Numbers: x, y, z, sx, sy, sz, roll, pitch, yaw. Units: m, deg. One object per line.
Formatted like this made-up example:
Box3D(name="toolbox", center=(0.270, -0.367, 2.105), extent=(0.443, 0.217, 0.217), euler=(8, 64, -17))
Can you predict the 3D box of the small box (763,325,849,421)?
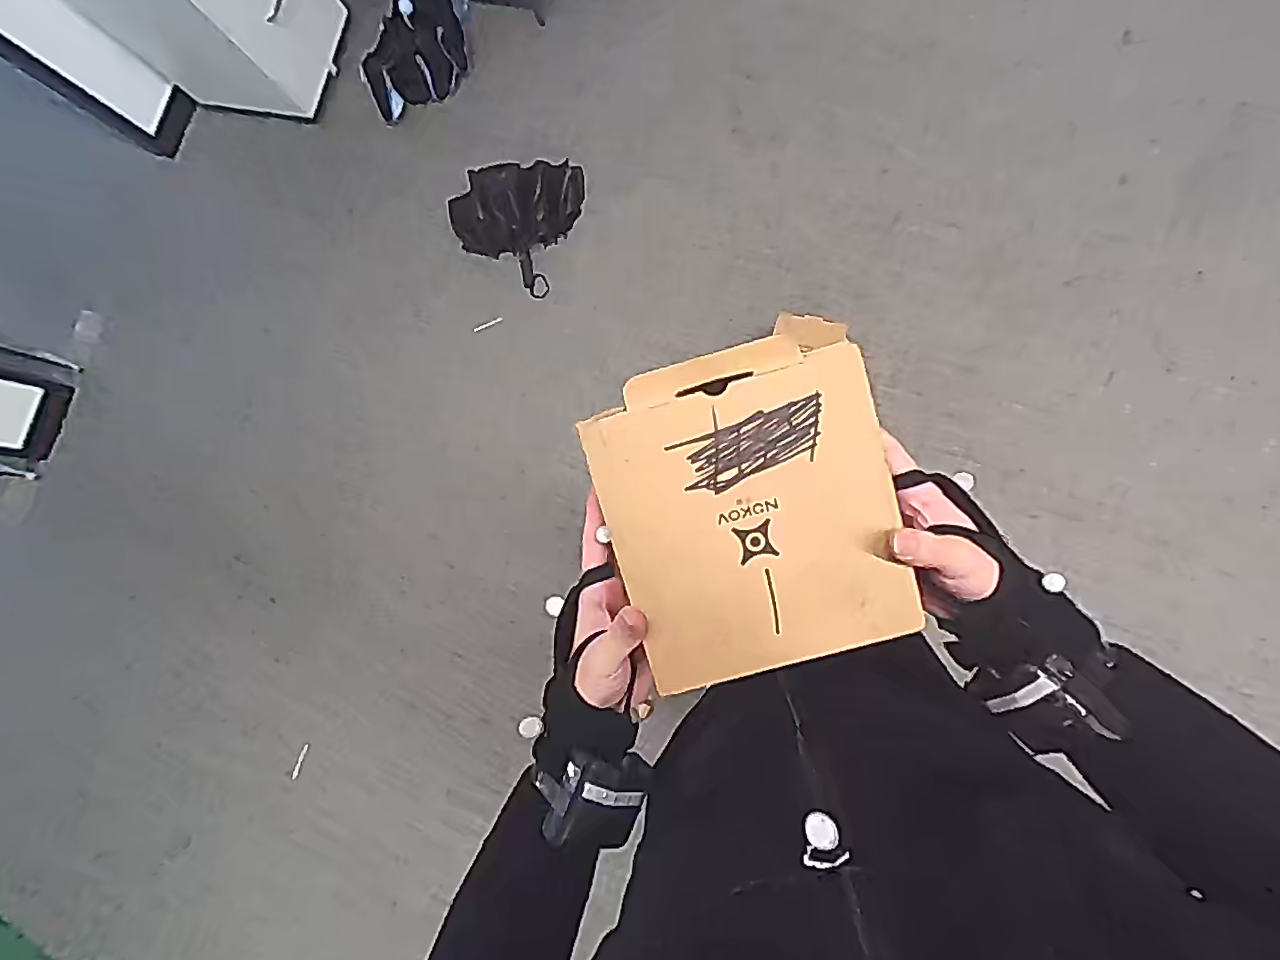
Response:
Box3D(name="small box", center=(0.410, -0.263, 1.356), extent=(0.168, 0.176, 0.179), euler=(14, 87, 16))
